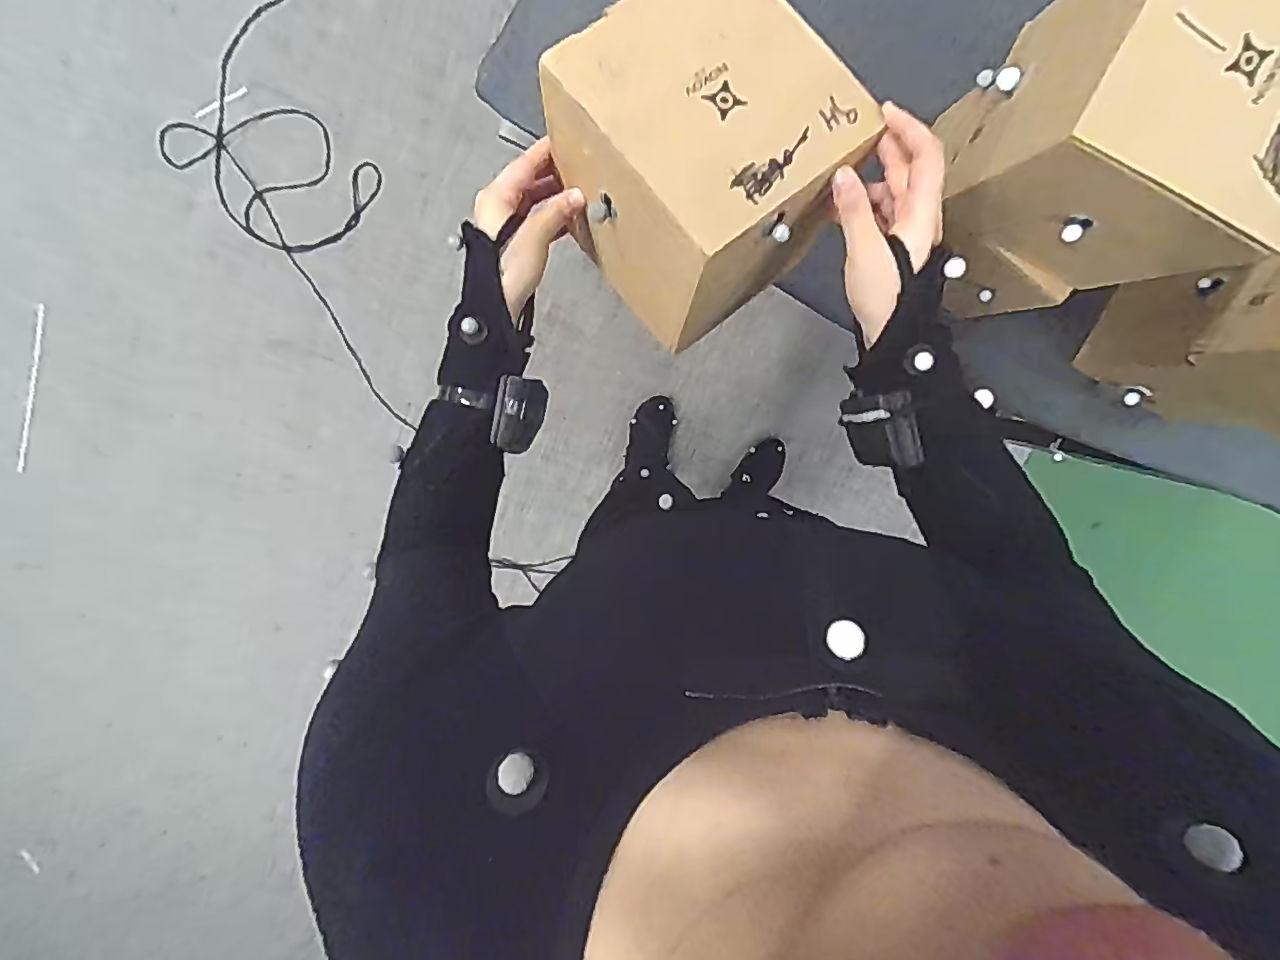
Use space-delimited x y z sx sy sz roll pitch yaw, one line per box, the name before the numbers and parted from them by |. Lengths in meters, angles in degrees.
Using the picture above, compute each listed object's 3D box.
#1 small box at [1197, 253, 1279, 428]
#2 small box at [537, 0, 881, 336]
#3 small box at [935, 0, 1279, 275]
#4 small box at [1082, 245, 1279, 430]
small box | 0.658 -0.125 0.452 0.179 0.176 0.168 35 100 -6
small box | 0.041 -0.251 0.434 0.168 0.176 0.179 -39 85 -8
small box | 0.379 -0.275 0.415 0.179 0.176 0.168 24 101 -5
small box | 0.664 -0.172 0.608 0.168 0.176 0.179 24 101 -5
